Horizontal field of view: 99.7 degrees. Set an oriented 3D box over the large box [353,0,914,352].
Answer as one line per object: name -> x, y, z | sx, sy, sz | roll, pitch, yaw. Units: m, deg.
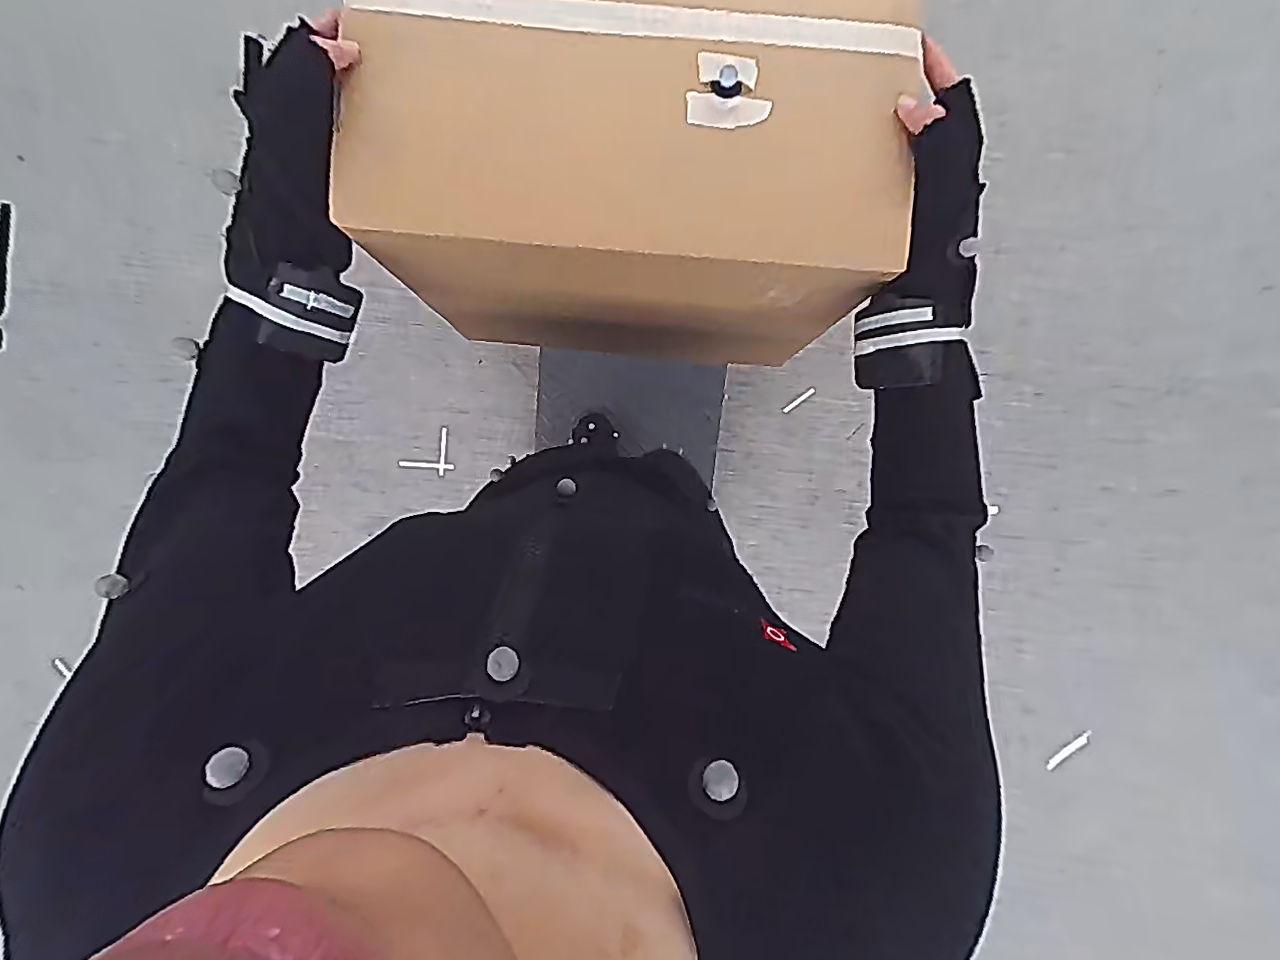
large box -> -0.004, -0.327, 0.541 | 0.408, 0.320, 0.320 | 4, 90, -1
